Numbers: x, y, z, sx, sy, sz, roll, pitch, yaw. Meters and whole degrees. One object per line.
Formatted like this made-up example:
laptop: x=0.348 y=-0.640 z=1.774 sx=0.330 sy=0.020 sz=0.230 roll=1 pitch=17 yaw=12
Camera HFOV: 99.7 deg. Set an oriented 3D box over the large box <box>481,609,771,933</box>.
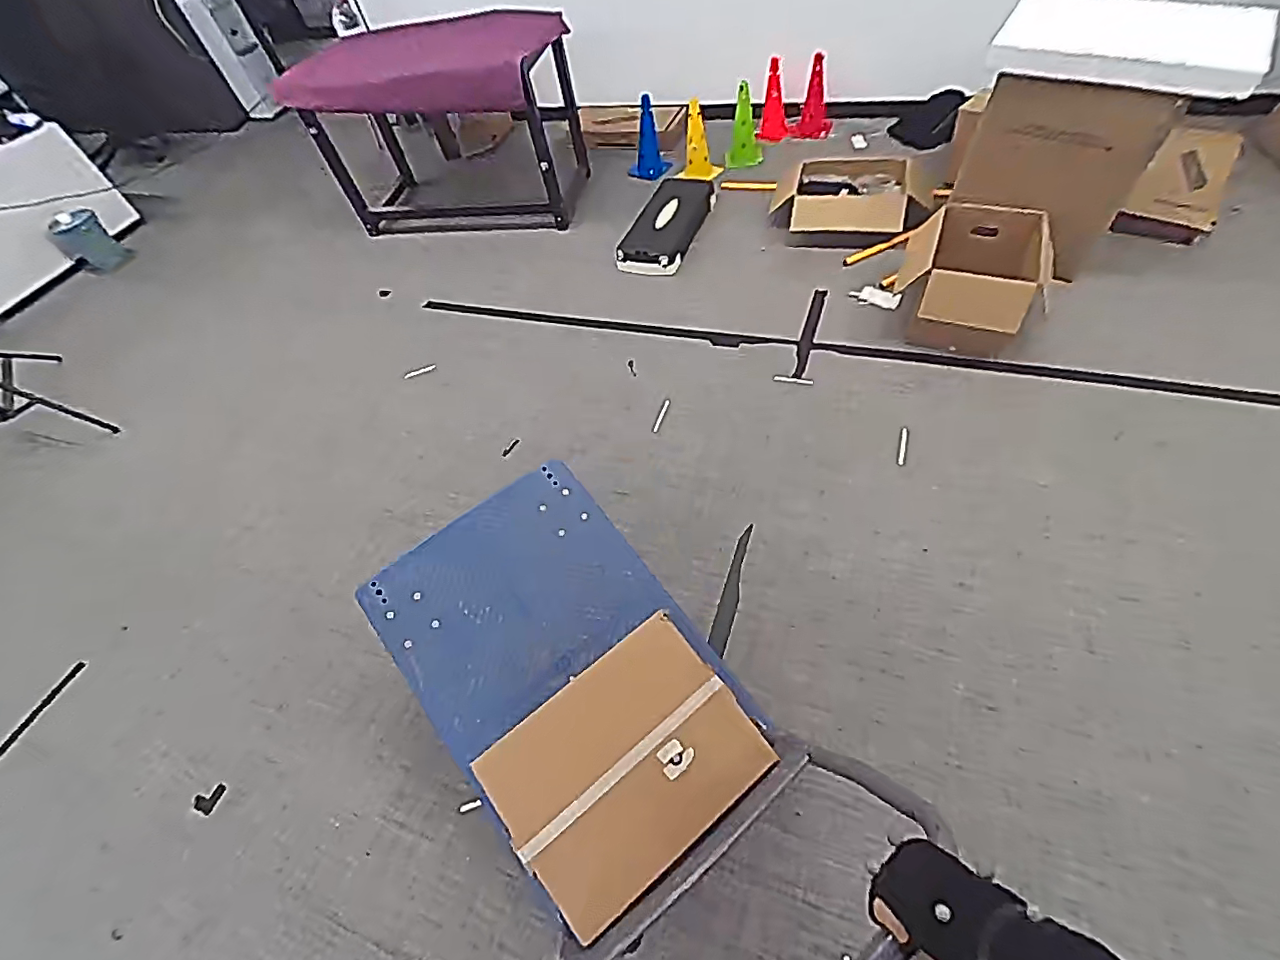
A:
large box: x=-0.029 y=0.519 z=1.043 sx=0.408 sy=0.320 sz=0.320 roll=-36 pitch=75 yaw=-17
